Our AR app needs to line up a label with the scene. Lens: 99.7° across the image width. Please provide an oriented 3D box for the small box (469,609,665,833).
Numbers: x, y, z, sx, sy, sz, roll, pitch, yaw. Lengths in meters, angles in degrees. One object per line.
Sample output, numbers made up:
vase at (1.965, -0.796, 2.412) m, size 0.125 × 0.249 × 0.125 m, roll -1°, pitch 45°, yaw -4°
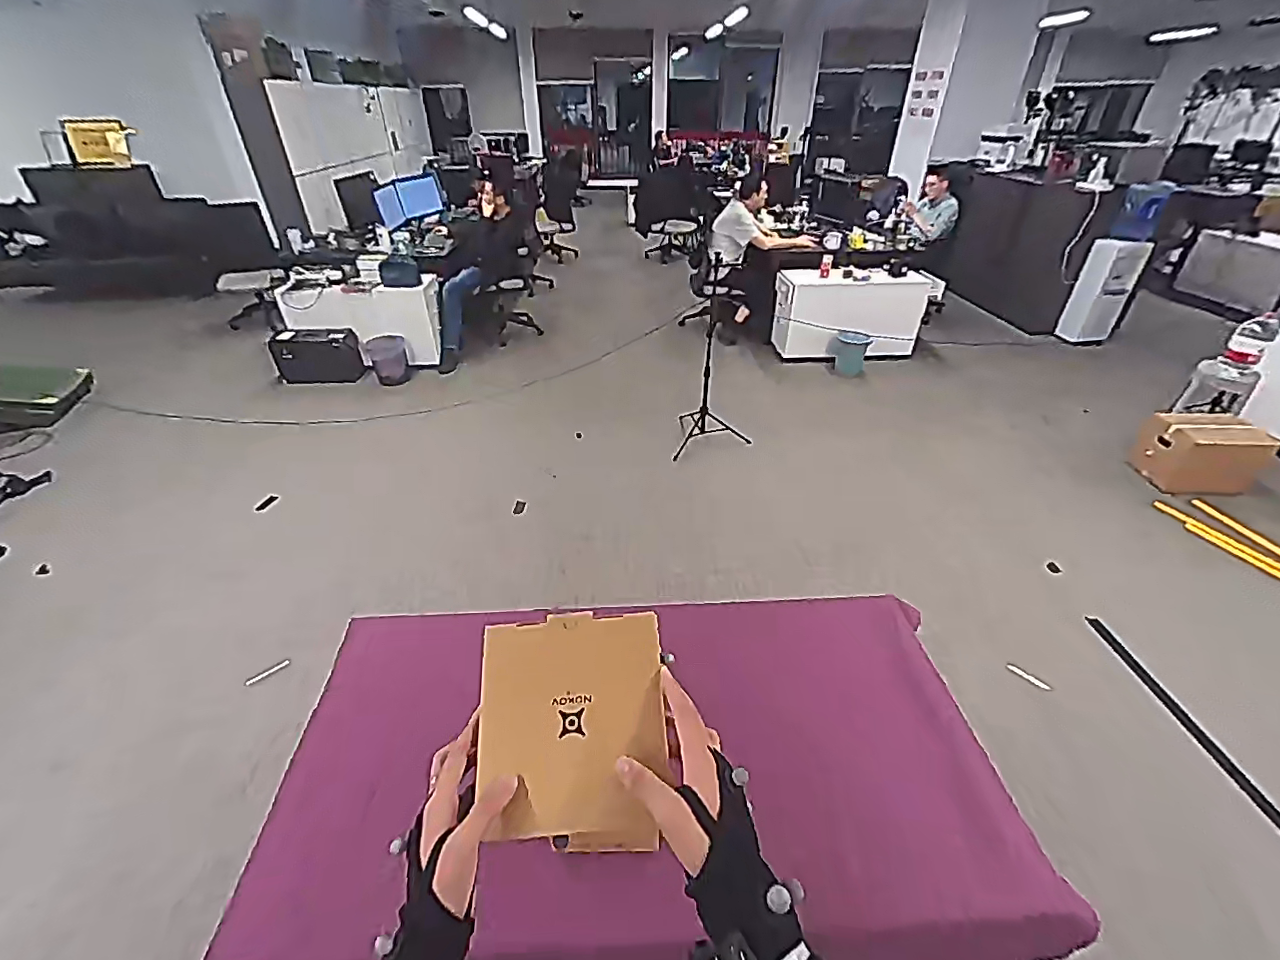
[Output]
small box at (-0.061, 0.244, 0.548) m, size 0.168 × 0.176 × 0.179 m, roll -3°, pitch 59°, yaw -1°
